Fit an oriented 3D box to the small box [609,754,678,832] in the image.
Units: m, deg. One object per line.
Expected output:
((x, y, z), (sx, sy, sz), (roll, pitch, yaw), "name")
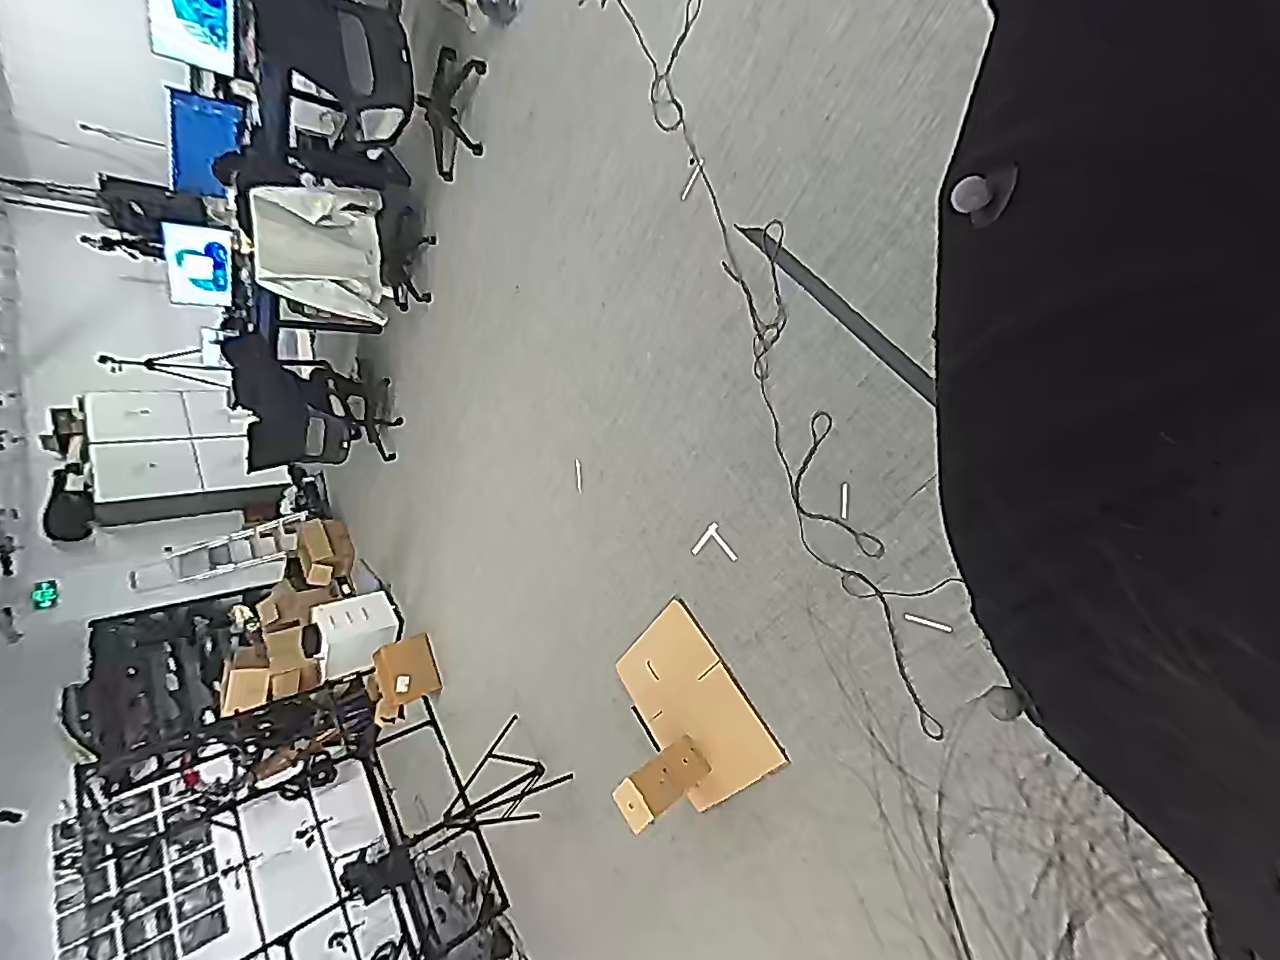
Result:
((0.017, 1.188, 2.058), (0.168, 0.176, 0.179), (49, 129, 28), "small box")

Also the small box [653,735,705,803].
((0.134, 1.163, 2.171), (0.168, 0.176, 0.179), (48, 128, 30), "small box")
